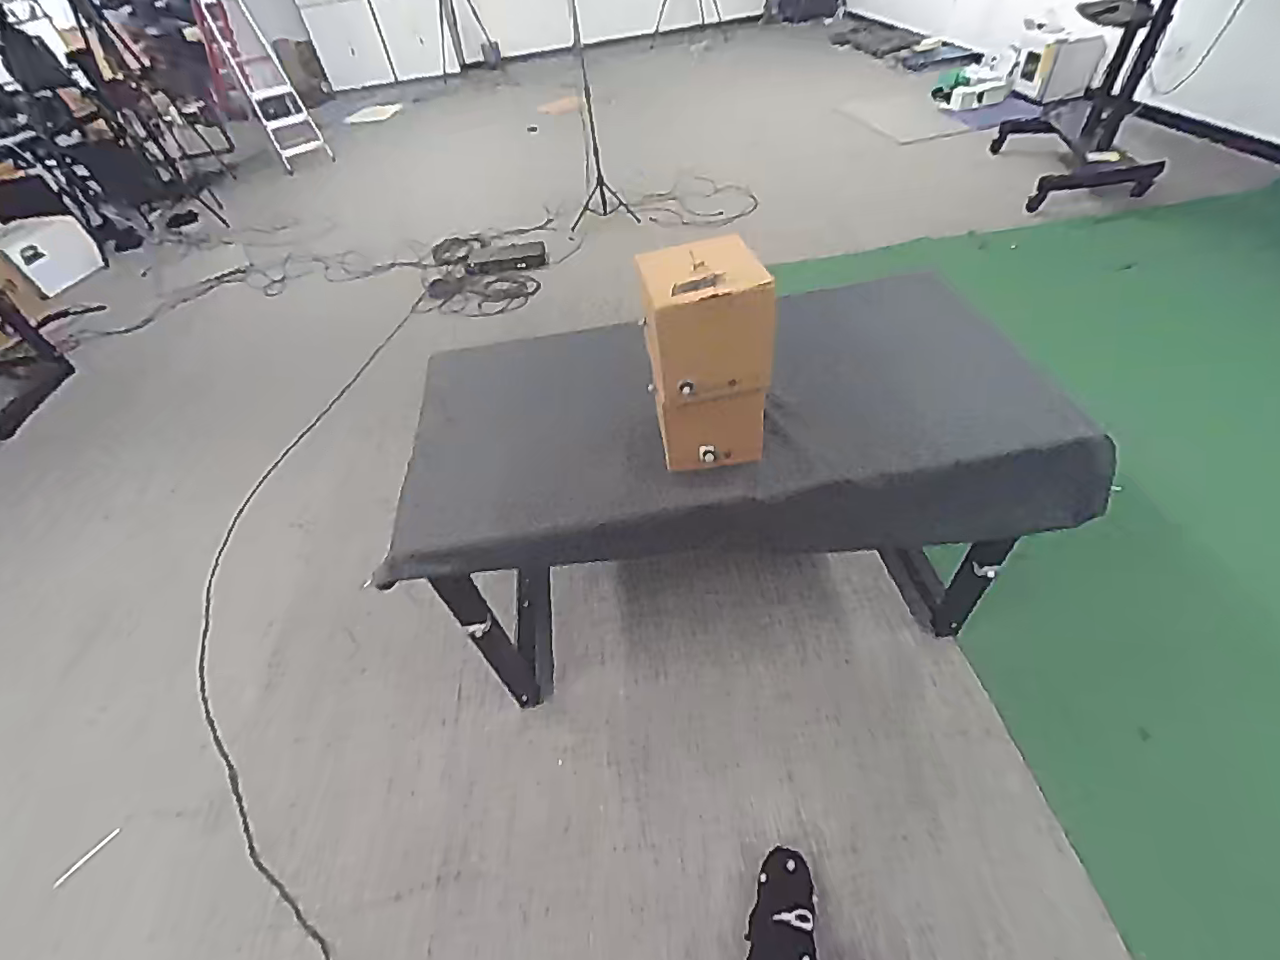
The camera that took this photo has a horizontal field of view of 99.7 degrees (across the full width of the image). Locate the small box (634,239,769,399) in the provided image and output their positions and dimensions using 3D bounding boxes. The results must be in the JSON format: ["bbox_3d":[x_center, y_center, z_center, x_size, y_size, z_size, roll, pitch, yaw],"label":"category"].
[{"bbox_3d":[0.095,-0.240,0.832,0.168,0.176,0.179,-12,44,-1],"label":"small box"}]

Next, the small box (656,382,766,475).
[{"bbox_3d":[0.119,-0.135,0.957,0.168,0.176,0.179,-10,47,2],"label":"small box"}]
